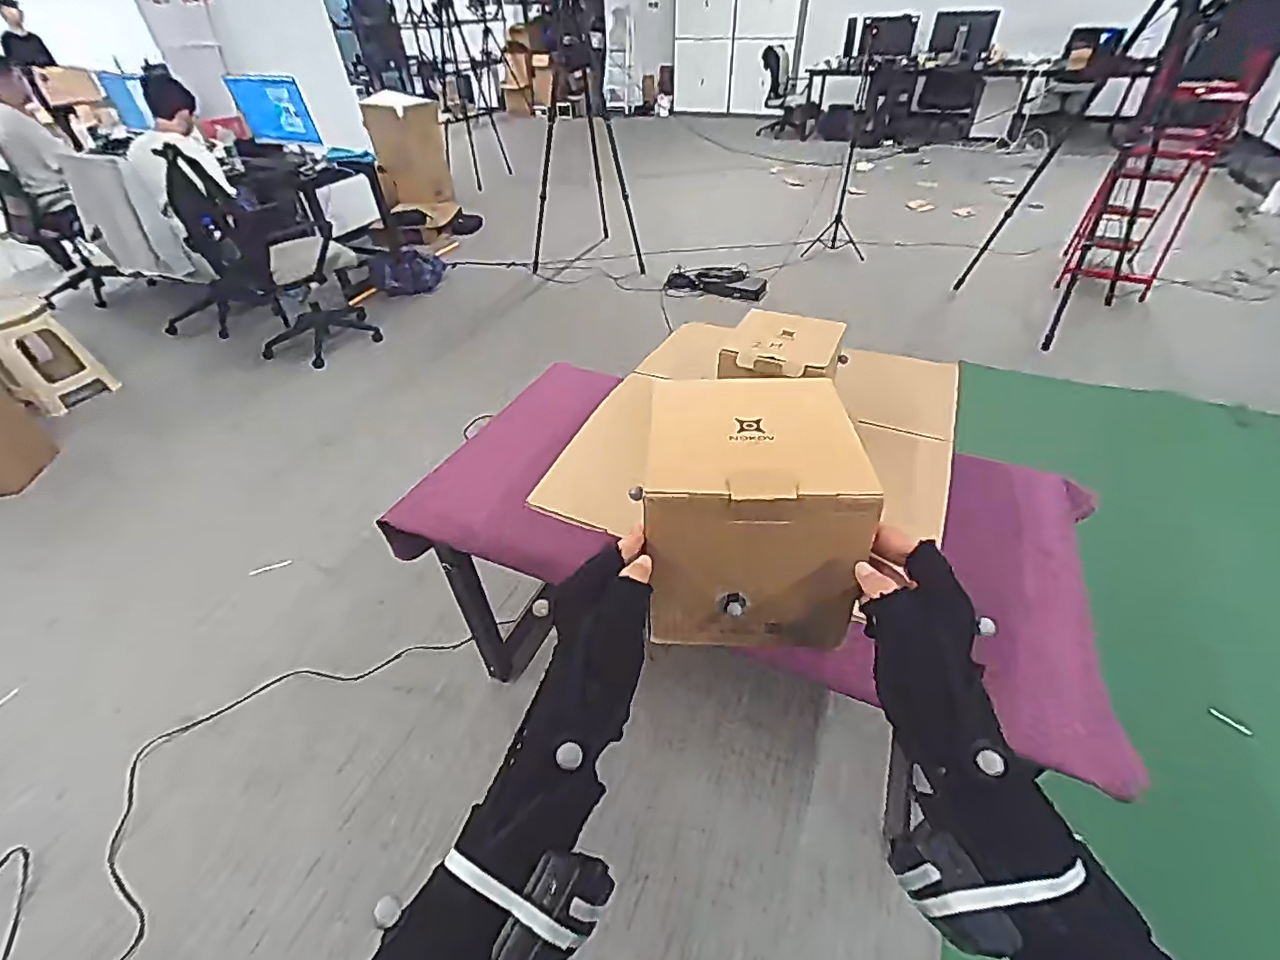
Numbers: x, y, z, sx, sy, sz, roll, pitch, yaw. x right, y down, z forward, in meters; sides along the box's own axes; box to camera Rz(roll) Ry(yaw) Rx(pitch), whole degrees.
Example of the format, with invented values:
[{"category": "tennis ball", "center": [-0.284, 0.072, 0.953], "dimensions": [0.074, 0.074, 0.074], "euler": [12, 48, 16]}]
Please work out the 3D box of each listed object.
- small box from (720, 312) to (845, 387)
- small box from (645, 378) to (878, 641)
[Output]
[{"category": "small box", "center": [0.235, -0.164, 0.926], "dimensions": [0.168, 0.176, 0.179], "euler": [16, 44, 21]}, {"category": "small box", "center": [0.092, 0.021, 0.493], "dimensions": [0.168, 0.176, 0.179], "euler": [0, 37, 4]}]
